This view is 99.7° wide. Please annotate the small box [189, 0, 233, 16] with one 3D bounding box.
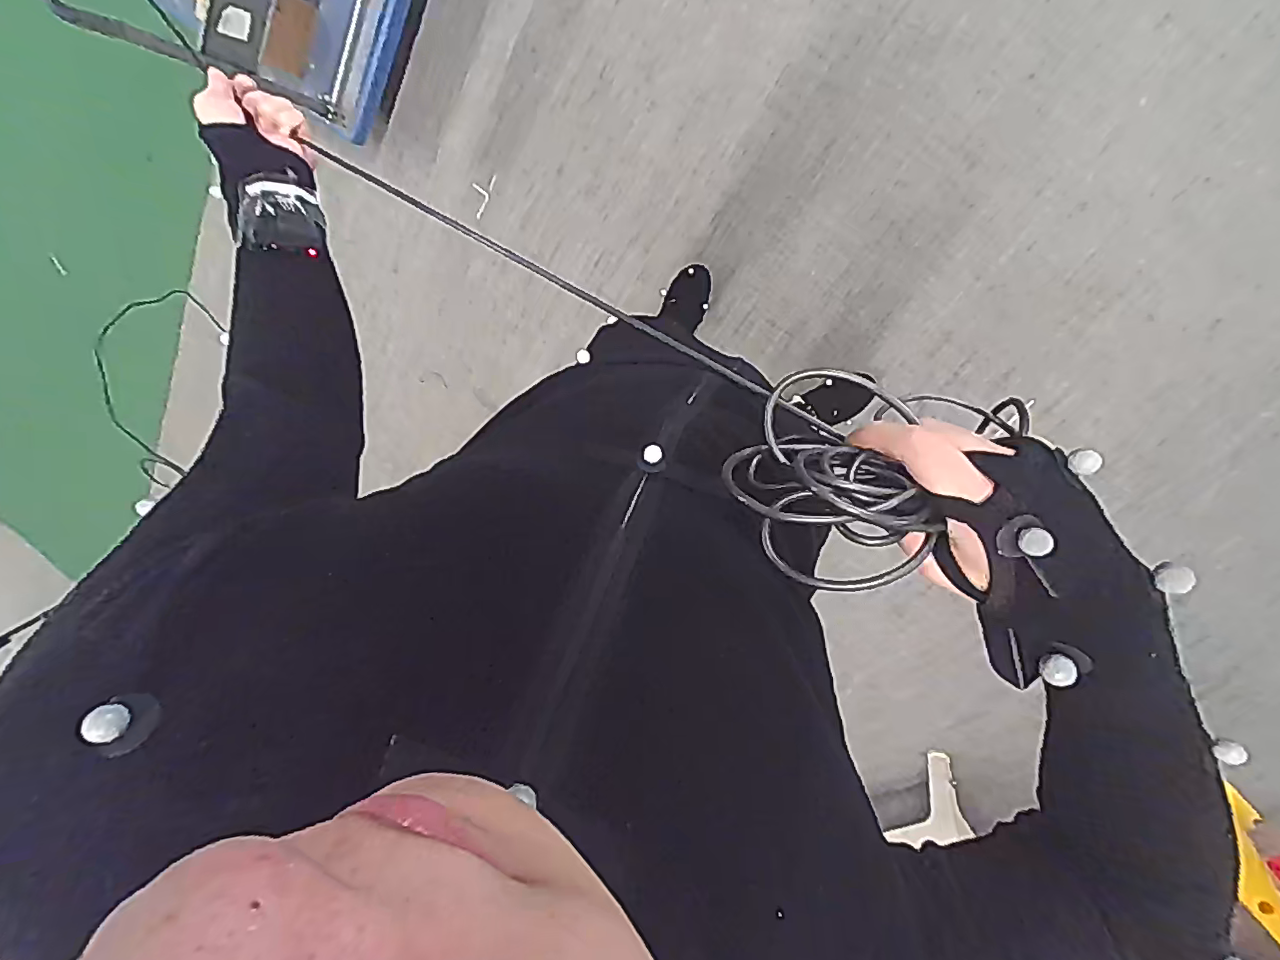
[{"bbox_3d":[-1.178,-1.350,1.391,0.179,0.176,0.168,33,114,7],"label":"small box"}]
